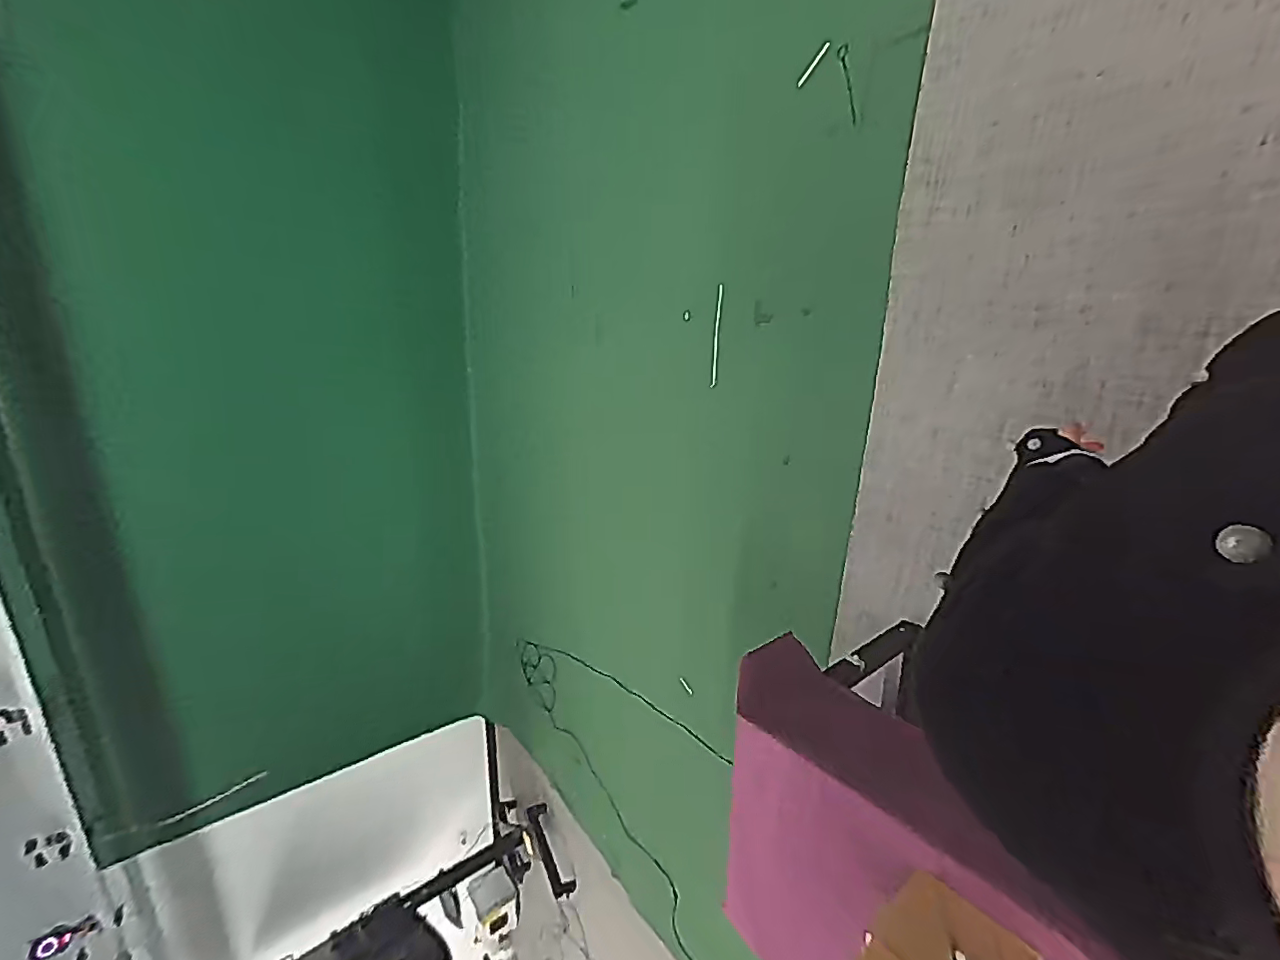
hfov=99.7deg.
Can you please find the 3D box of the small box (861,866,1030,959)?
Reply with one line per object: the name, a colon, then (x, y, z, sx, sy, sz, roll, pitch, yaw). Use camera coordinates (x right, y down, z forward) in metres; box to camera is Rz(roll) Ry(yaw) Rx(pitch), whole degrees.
small box: (0.451, 0.740, 0.811, 0.179, 0.176, 0.168, 16, 111, 49)
